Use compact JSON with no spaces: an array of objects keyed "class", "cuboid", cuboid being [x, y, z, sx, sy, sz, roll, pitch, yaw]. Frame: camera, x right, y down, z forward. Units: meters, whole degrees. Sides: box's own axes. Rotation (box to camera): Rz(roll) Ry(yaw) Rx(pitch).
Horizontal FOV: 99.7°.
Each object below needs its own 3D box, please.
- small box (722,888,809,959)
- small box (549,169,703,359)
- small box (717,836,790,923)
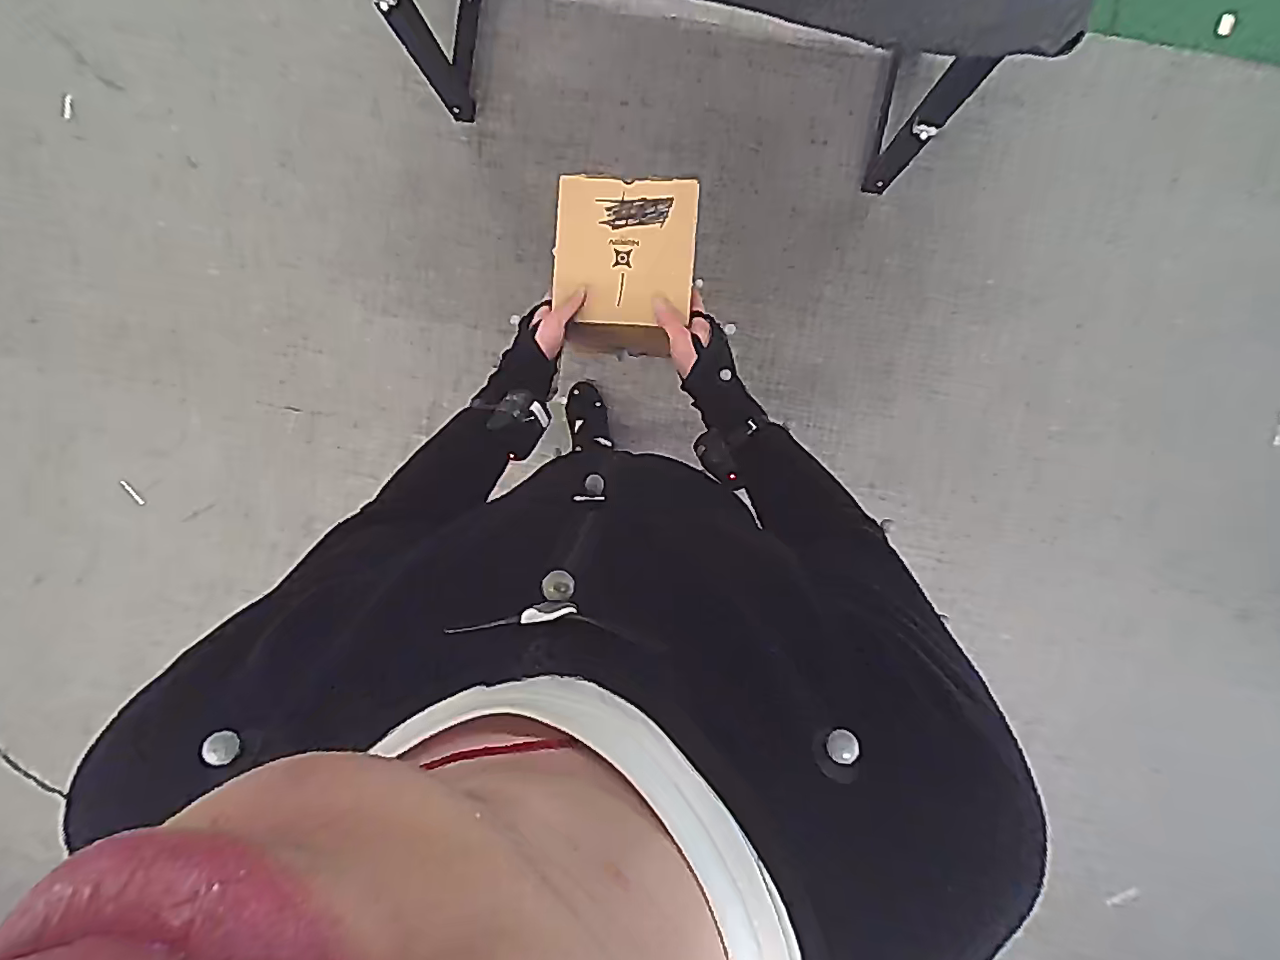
[{"class":"small box","cuboid":[0.327,1.242,1.449,0.179,0.176,0.168,11,98,-2]},{"class":"small box","cuboid":[-0.014,-0.271,0.712,0.168,0.176,0.179,6,91,3]},{"class":"small box","cuboid":[0.335,1.216,1.628,0.168,0.176,0.179,9,97,-2]}]
